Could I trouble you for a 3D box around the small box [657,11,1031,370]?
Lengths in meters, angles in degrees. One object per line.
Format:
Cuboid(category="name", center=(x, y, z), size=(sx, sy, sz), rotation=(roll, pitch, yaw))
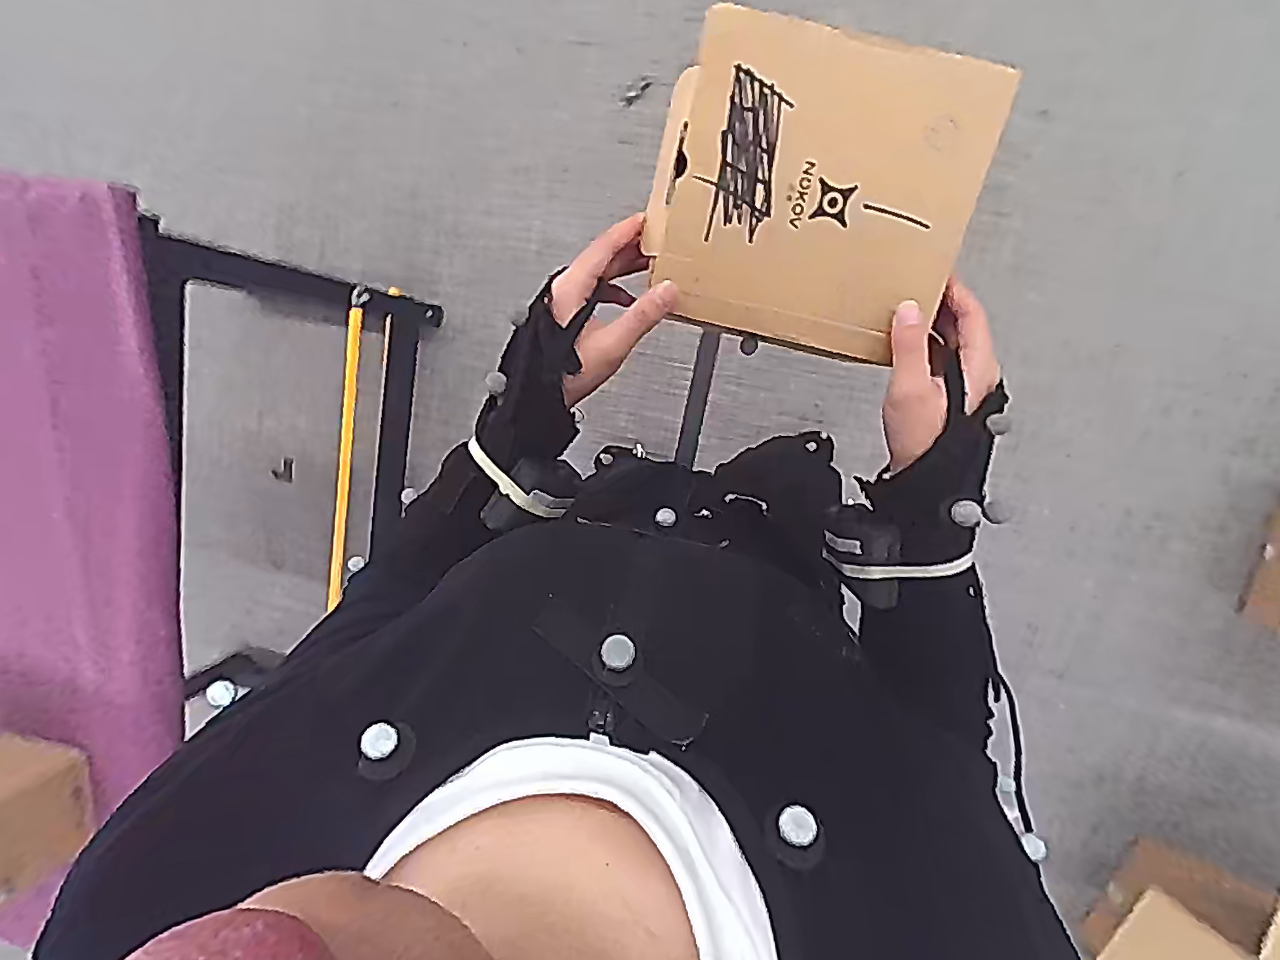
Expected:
Cuboid(category="small box", center=(0.120, -0.184, 0.396), size=(0.179, 0.176, 0.168), rotation=(15, 105, 1))
